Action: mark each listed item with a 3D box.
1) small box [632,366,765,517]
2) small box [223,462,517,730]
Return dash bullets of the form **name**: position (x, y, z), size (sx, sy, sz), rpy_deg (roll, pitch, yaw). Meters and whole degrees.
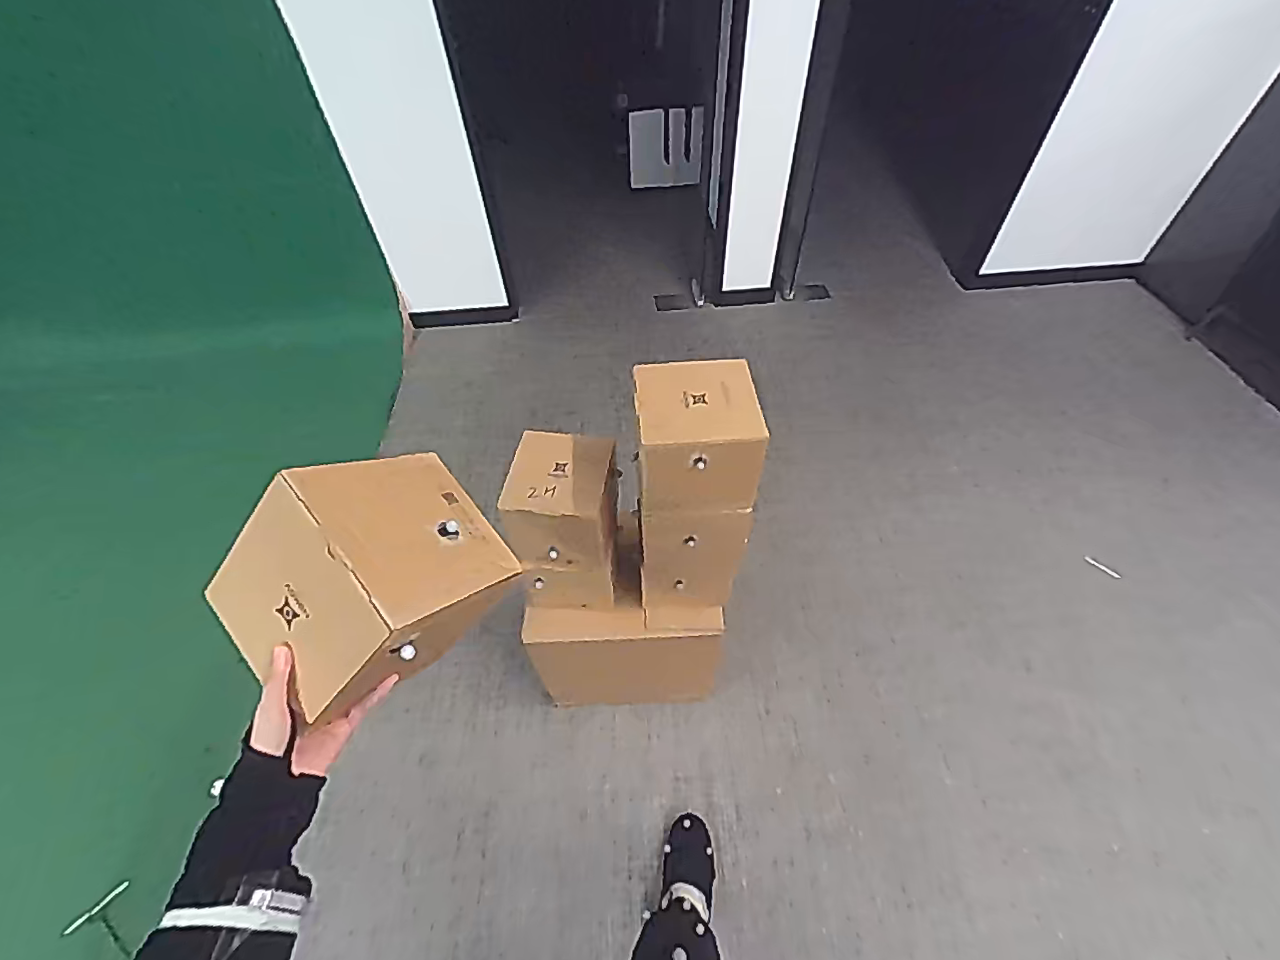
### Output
- **small box**: position (0.081, -0.055, 0.833), size (0.179, 0.176, 0.168), rpy_deg (-3, 52, -1)
- **small box**: position (-0.257, 0.100, 0.536), size (0.168, 0.179, 0.176), rpy_deg (49, 22, 12)
